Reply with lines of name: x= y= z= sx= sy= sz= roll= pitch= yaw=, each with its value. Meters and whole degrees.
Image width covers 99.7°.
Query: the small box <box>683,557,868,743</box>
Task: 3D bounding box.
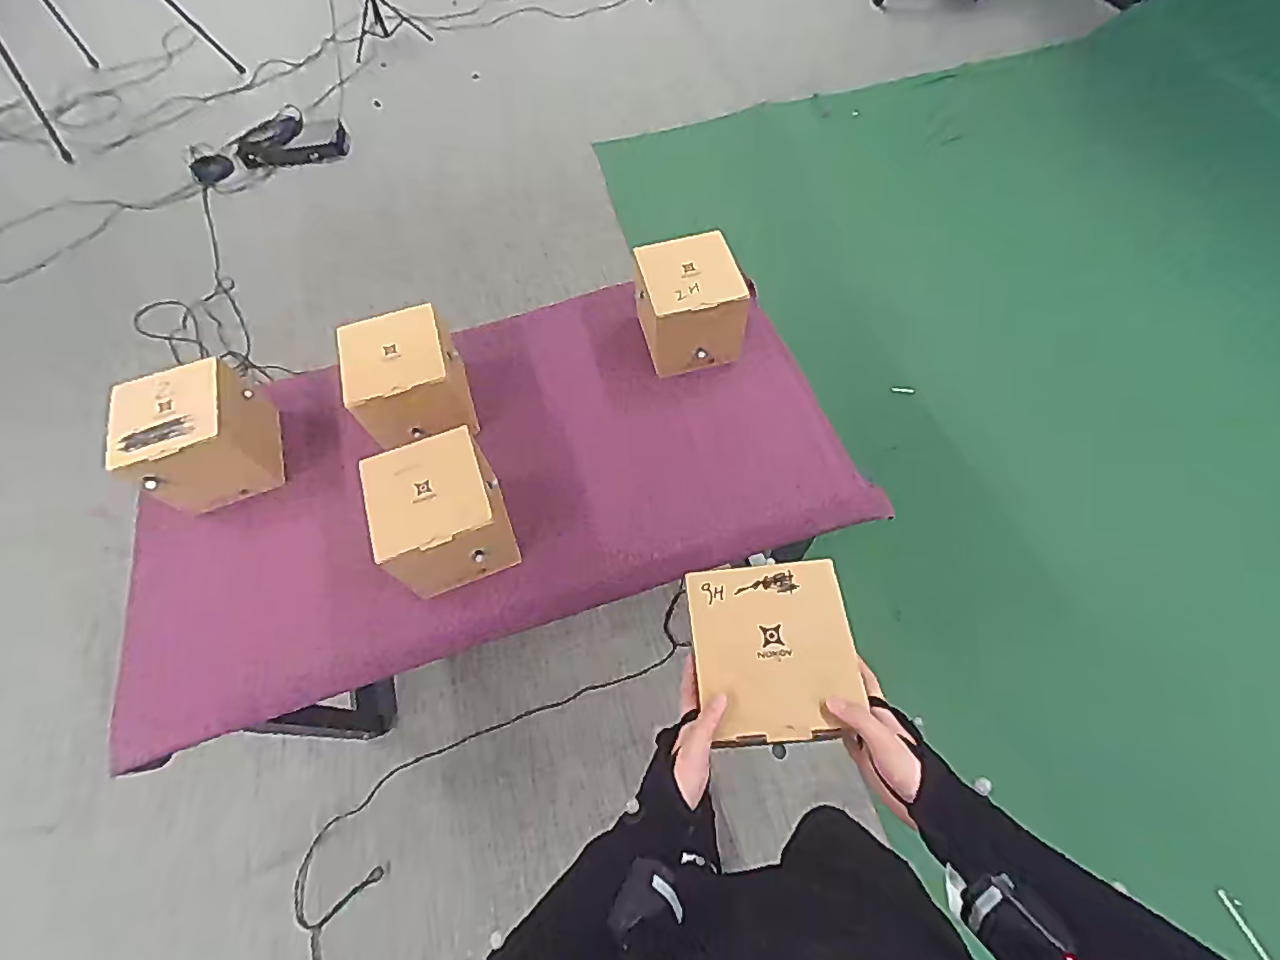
small box: x=0.143 y=0.204 z=0.630 sx=0.168 sy=0.176 sz=0.179 roll=-6 pitch=63 yaw=3

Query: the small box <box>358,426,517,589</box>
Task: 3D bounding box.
small box: x=-0.303 y=0.053 z=0.833 sx=0.168 sy=0.176 sz=0.179 roll=-20 pitch=62 yaw=-8

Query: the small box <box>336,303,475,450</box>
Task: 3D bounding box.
small box: x=-0.408 y=-0.175 z=0.957 sx=0.168 sy=0.176 sz=0.179 roll=-18 pitch=64 yaw=-6

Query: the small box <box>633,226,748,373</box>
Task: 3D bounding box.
small box: x=0.087 y=-0.329 z=1.002 sx=0.168 sy=0.176 sz=0.179 roll=-14 pitch=64 yaw=-2
